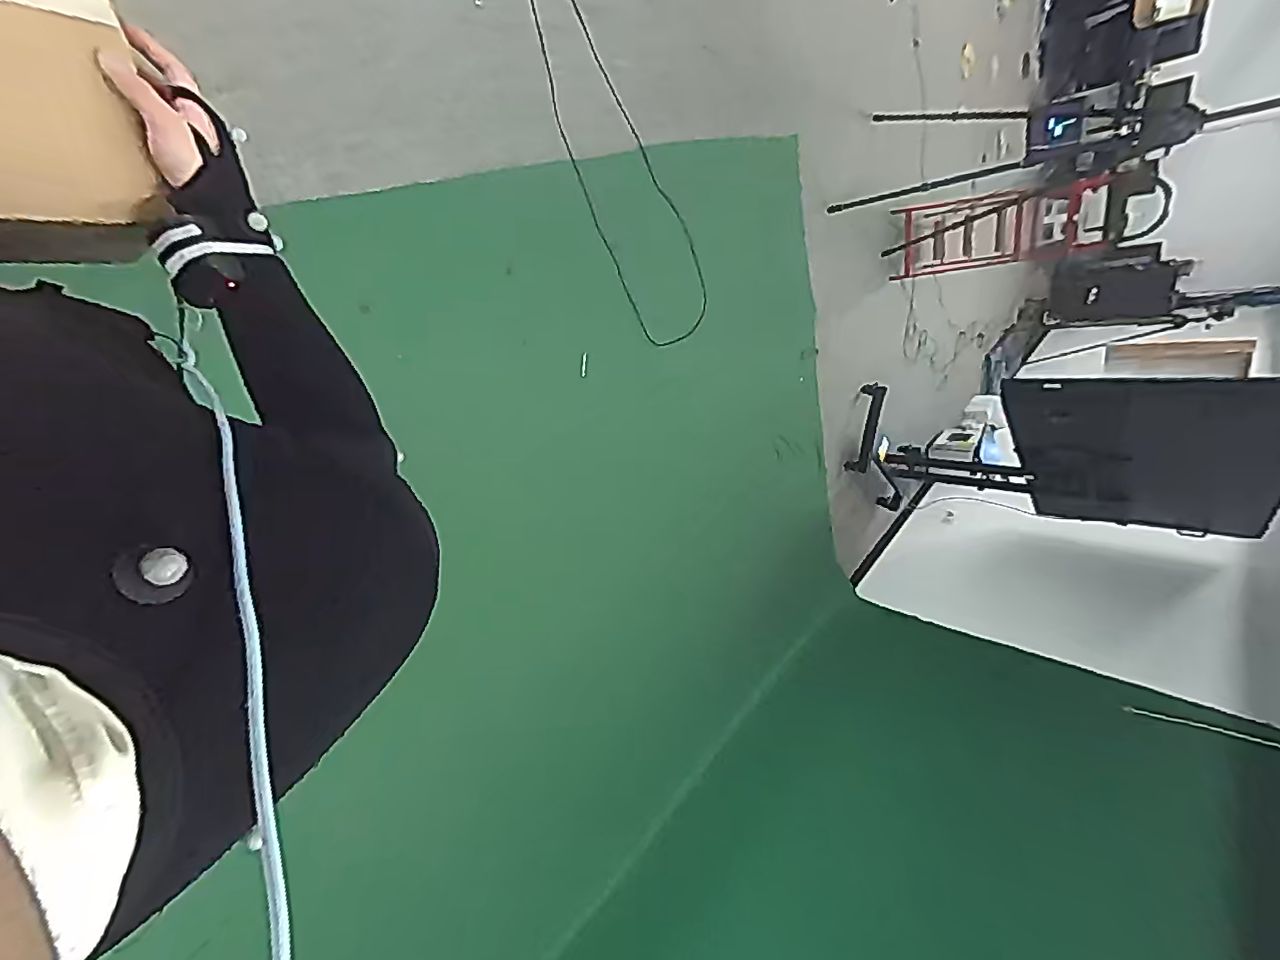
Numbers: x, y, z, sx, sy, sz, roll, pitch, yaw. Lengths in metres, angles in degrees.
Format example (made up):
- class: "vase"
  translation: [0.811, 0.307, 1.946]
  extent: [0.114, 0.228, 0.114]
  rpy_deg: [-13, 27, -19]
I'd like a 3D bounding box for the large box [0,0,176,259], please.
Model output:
- class: "large box"
  translation: [-0.679, -0.348, 0.410]
  extent: [0.408, 0.320, 0.320]
  rpy_deg: [-23, 116, -44]
